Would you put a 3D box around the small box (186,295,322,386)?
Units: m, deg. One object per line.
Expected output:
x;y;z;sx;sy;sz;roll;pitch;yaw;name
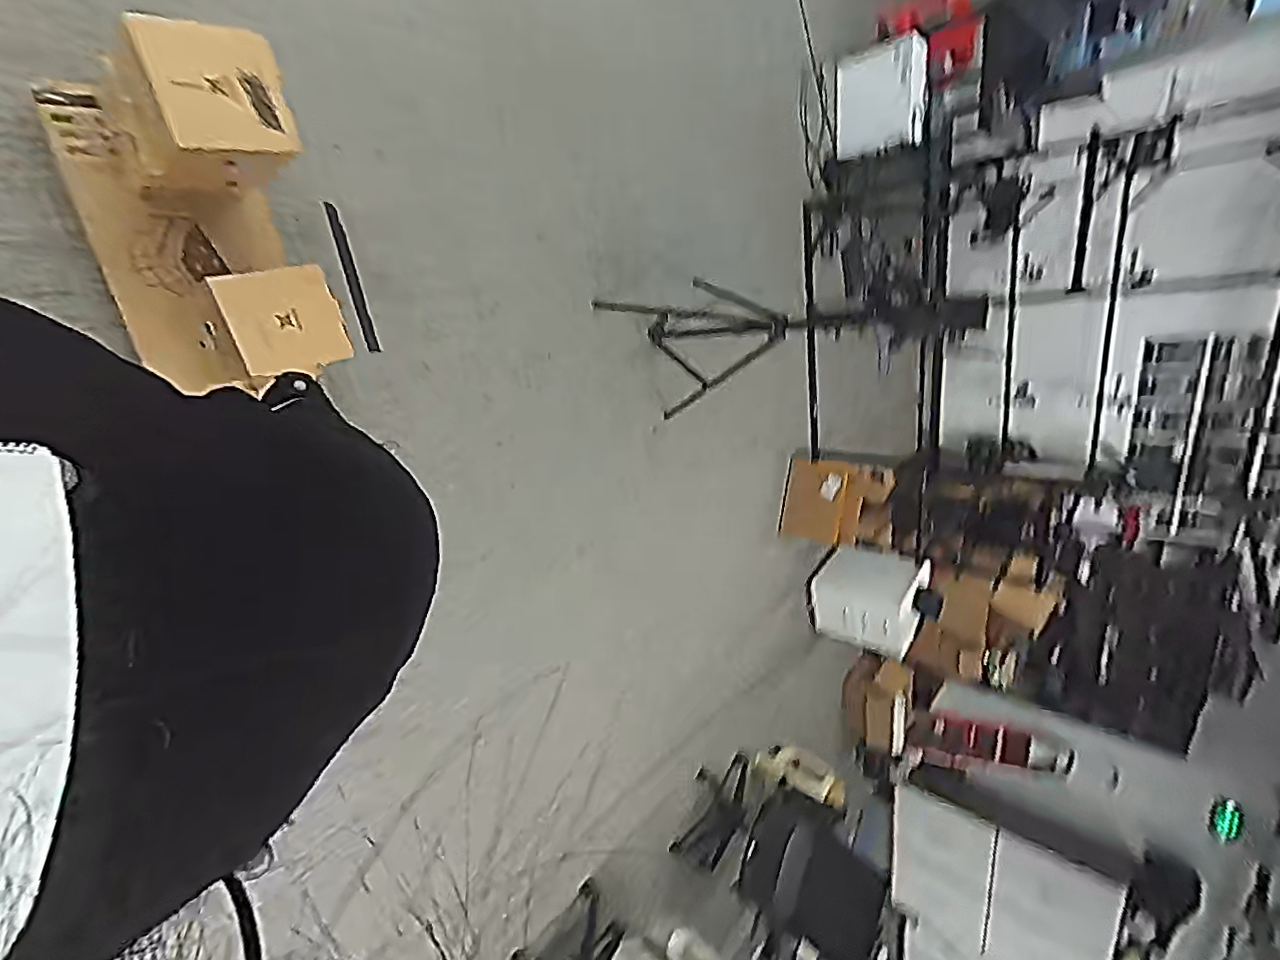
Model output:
-0.784;-0.288;1.096;0.179;0.176;0.168;-27;115;-41;small box

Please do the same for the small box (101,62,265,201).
-0.827;-0.615;0.980;0.179;0.176;0.168;-26;116;-42;small box

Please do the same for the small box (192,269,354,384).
-0.665;-0.277;0.982;0.179;0.176;0.168;-31;118;-40;small box

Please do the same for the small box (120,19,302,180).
-0.696;-0.601;0.881;0.179;0.176;0.168;-28;117;-41;small box
